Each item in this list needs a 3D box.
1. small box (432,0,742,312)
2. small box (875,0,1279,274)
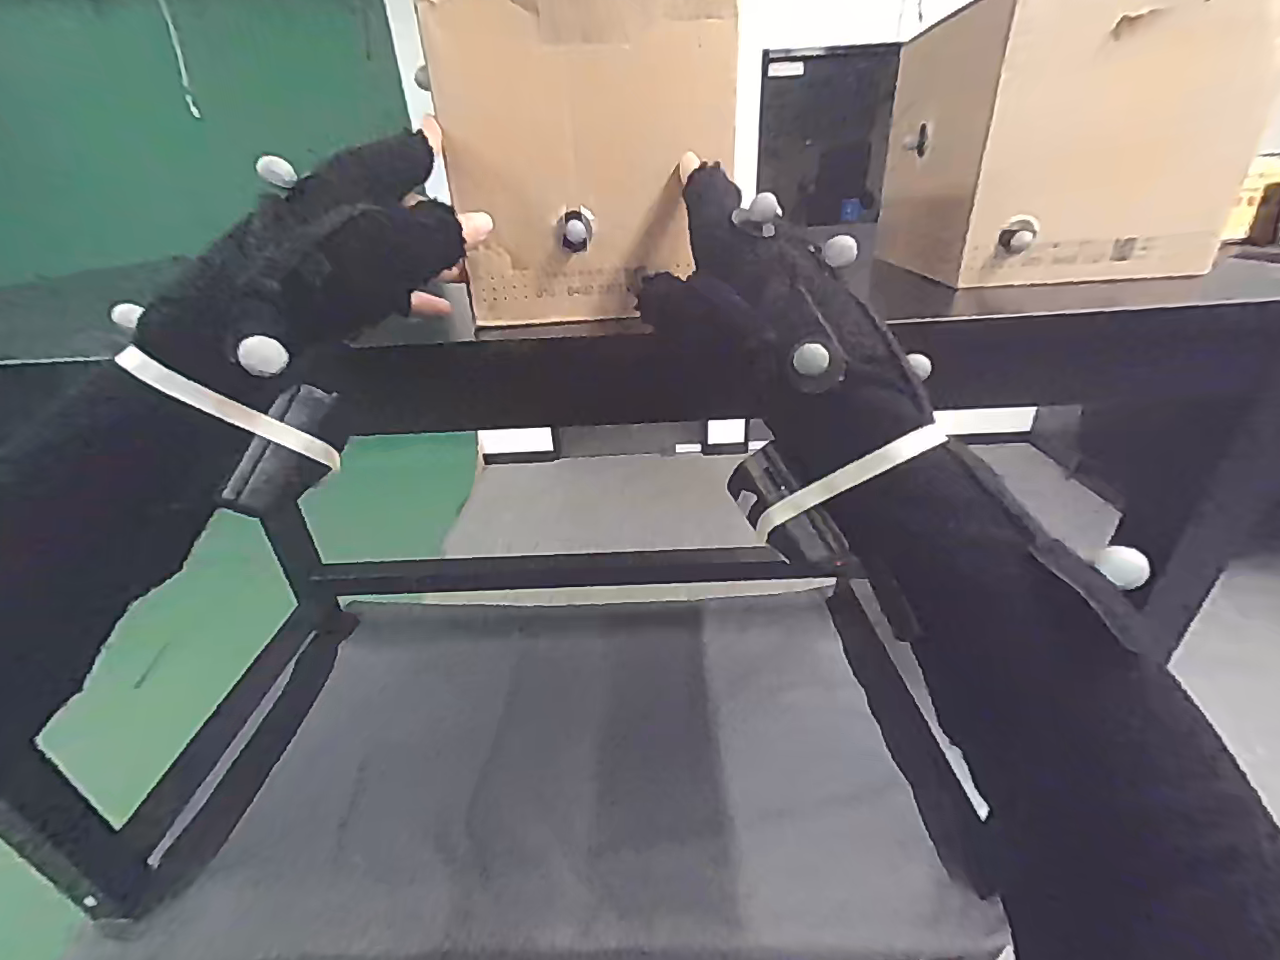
[{"bbox_3d":[-0.032,-0.221,0.389,0.168,0.176,0.179,-5,29,-4],"label":"small box"},{"bbox_3d":[0.296,-0.253,0.410,0.168,0.176,0.179,-1,28,4],"label":"small box"}]
